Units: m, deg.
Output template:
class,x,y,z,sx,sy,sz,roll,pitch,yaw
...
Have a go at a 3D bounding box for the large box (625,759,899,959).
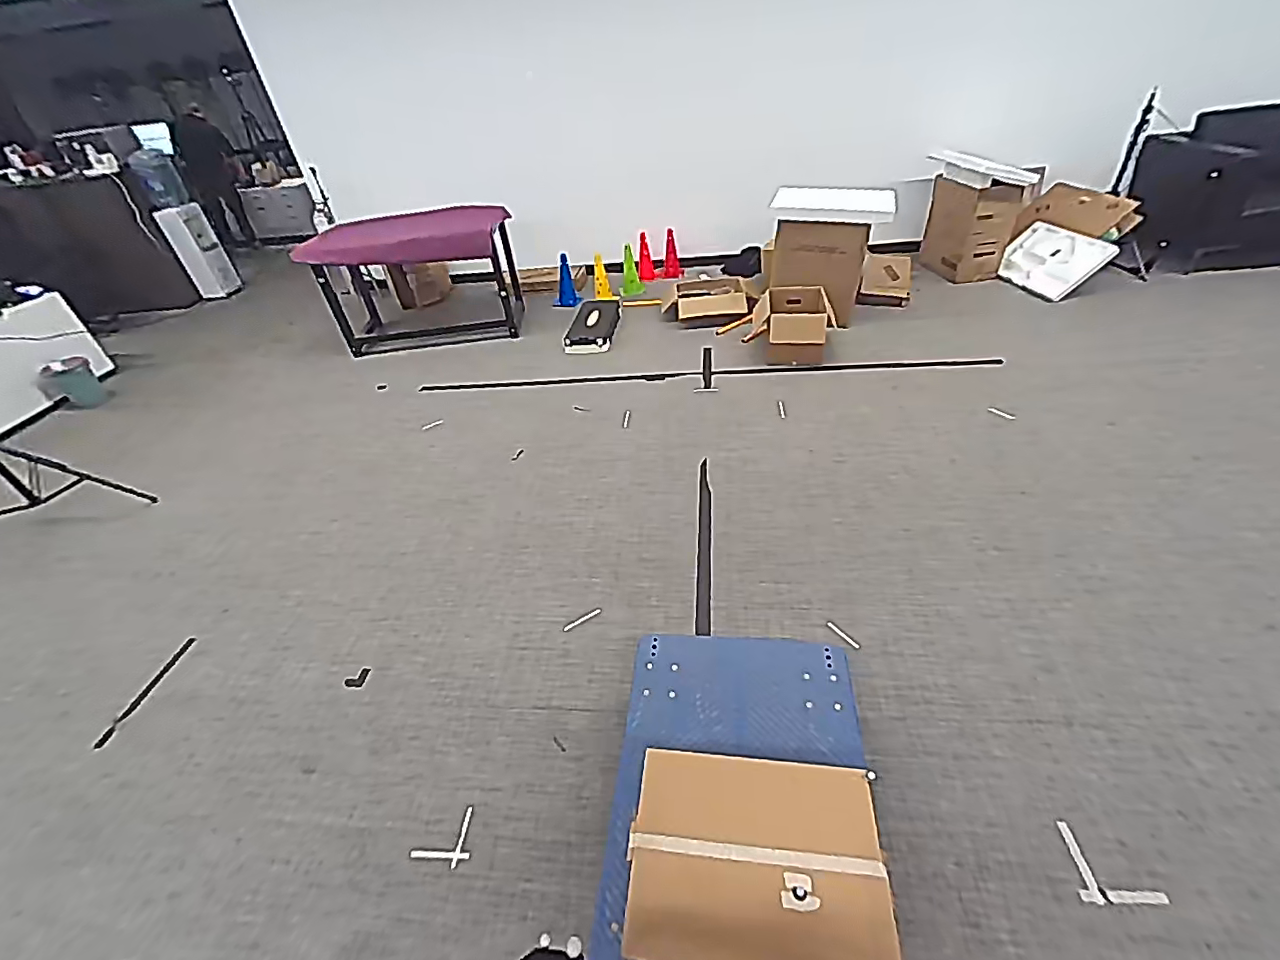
class,x,y,z,sx,sy,sz,roll,pitch,yaw
large box,0.198,0.743,0.969,0.408,0.320,0.320,2,40,9
